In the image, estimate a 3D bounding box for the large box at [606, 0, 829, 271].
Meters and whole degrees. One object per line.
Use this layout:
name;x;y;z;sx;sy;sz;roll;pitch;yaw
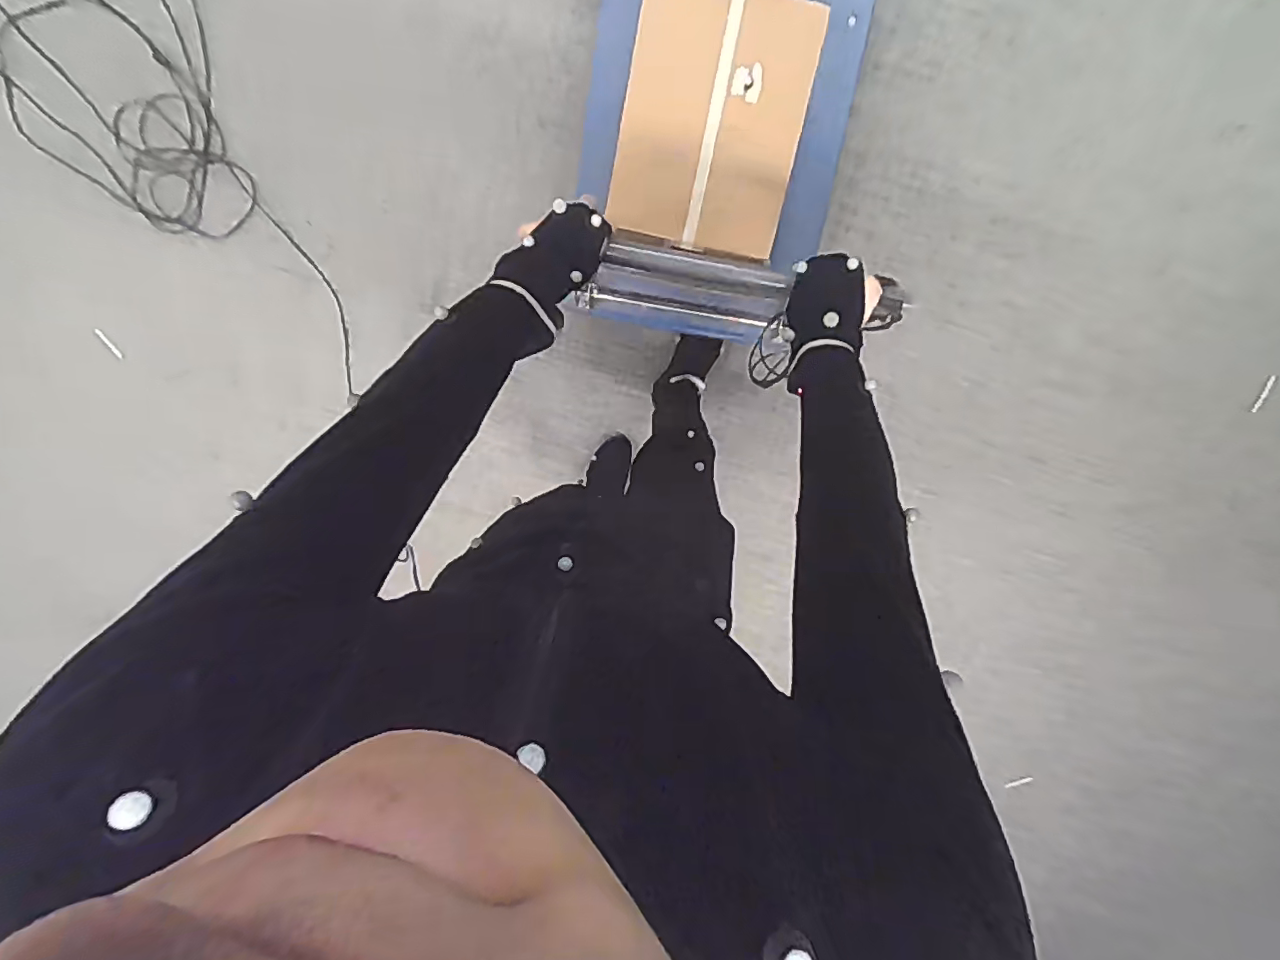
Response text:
large box;0.129;-0.664;1.070;0.320;0.320;0.408;12;105;-3
